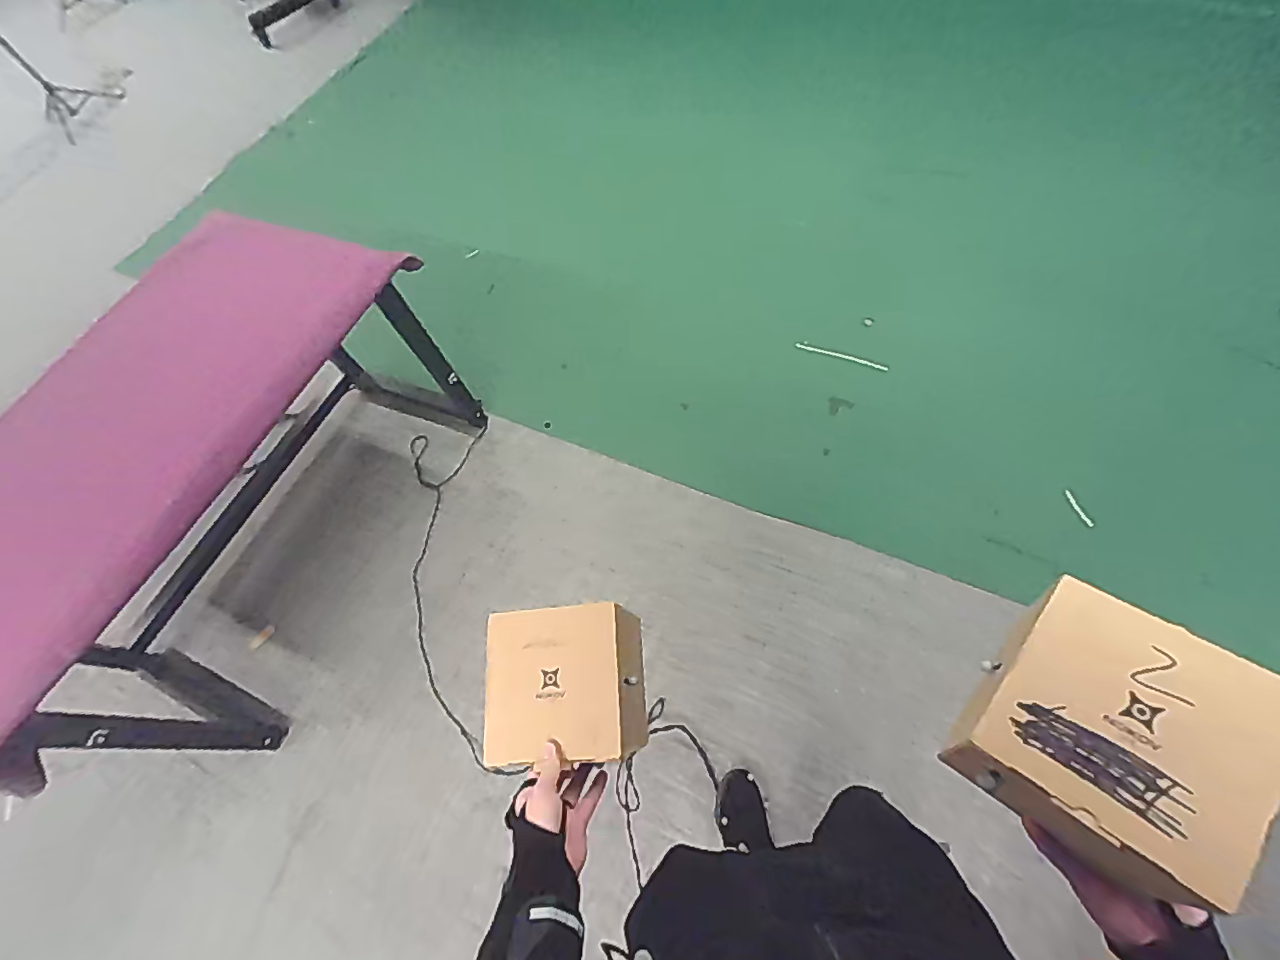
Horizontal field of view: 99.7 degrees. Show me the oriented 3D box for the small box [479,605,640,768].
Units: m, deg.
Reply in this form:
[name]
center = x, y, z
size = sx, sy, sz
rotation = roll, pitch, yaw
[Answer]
[small box]
center = -0.097, 0.268, 0.713
size = 0.168, 0.176, 0.179
rotation = -7, 68, 8
